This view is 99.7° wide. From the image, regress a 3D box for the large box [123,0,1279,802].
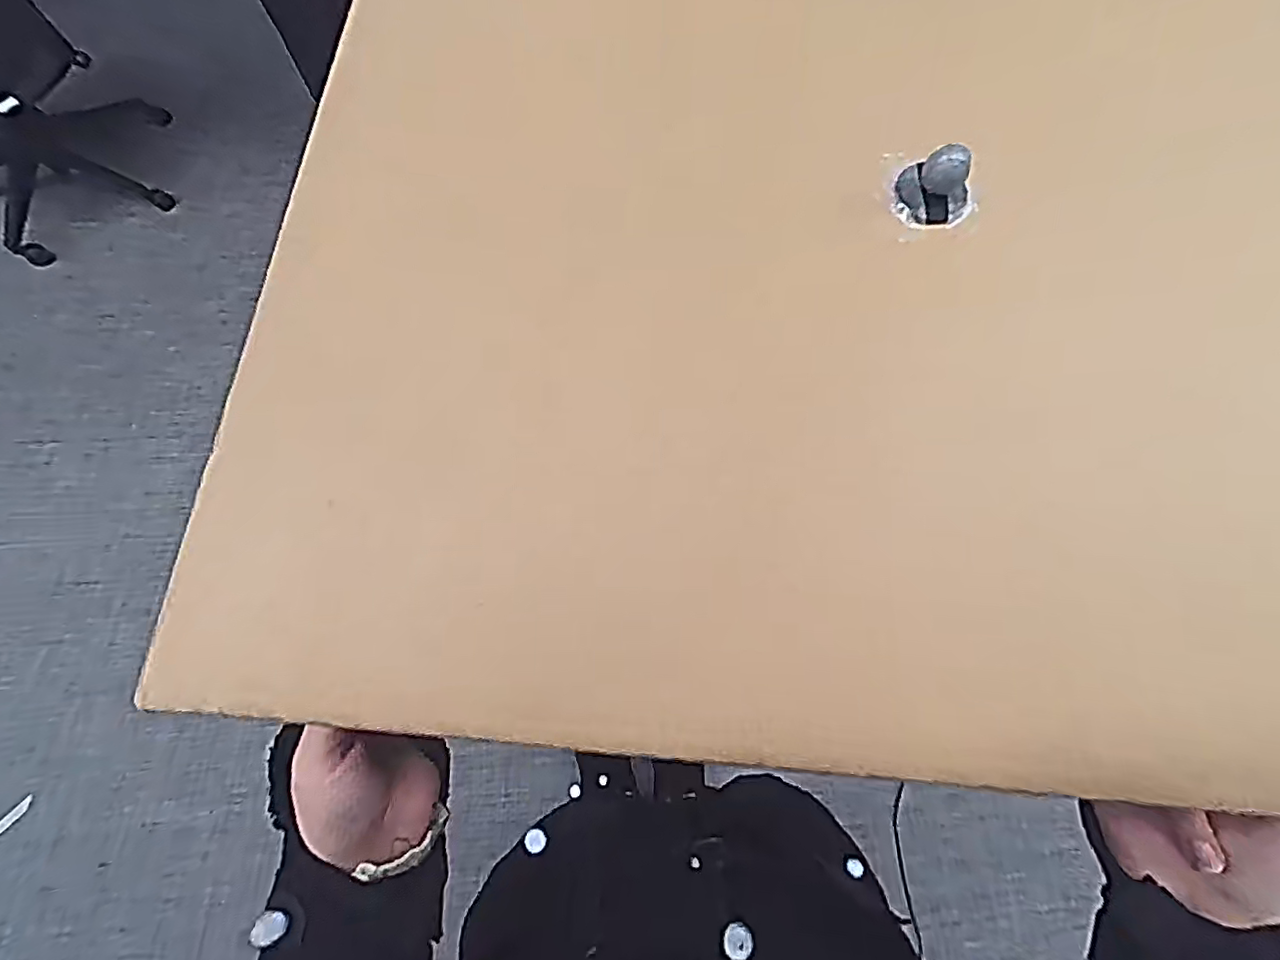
[{"bbox_3d":[0.074,-0.039,0.308,0.408,0.320,0.320,3,76,3],"label":"large box"}]
